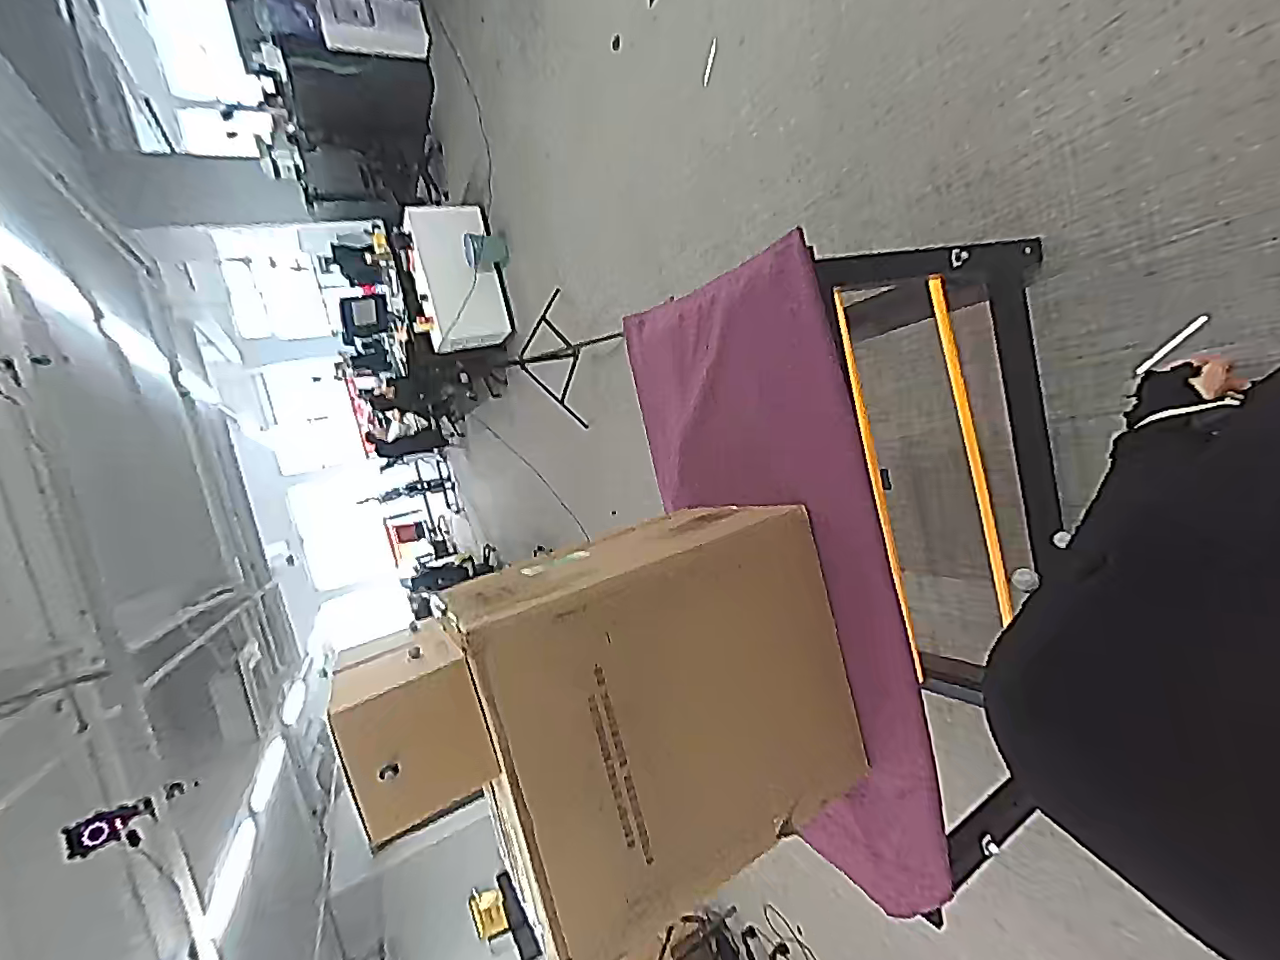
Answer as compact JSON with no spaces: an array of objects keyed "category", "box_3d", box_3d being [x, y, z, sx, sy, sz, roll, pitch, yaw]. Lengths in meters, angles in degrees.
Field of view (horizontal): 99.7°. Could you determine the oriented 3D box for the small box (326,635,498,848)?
[{"category":"small box","box_3d":[-0.310,0.343,0.747,0.168,0.176,0.179,-5,102,62]}]
